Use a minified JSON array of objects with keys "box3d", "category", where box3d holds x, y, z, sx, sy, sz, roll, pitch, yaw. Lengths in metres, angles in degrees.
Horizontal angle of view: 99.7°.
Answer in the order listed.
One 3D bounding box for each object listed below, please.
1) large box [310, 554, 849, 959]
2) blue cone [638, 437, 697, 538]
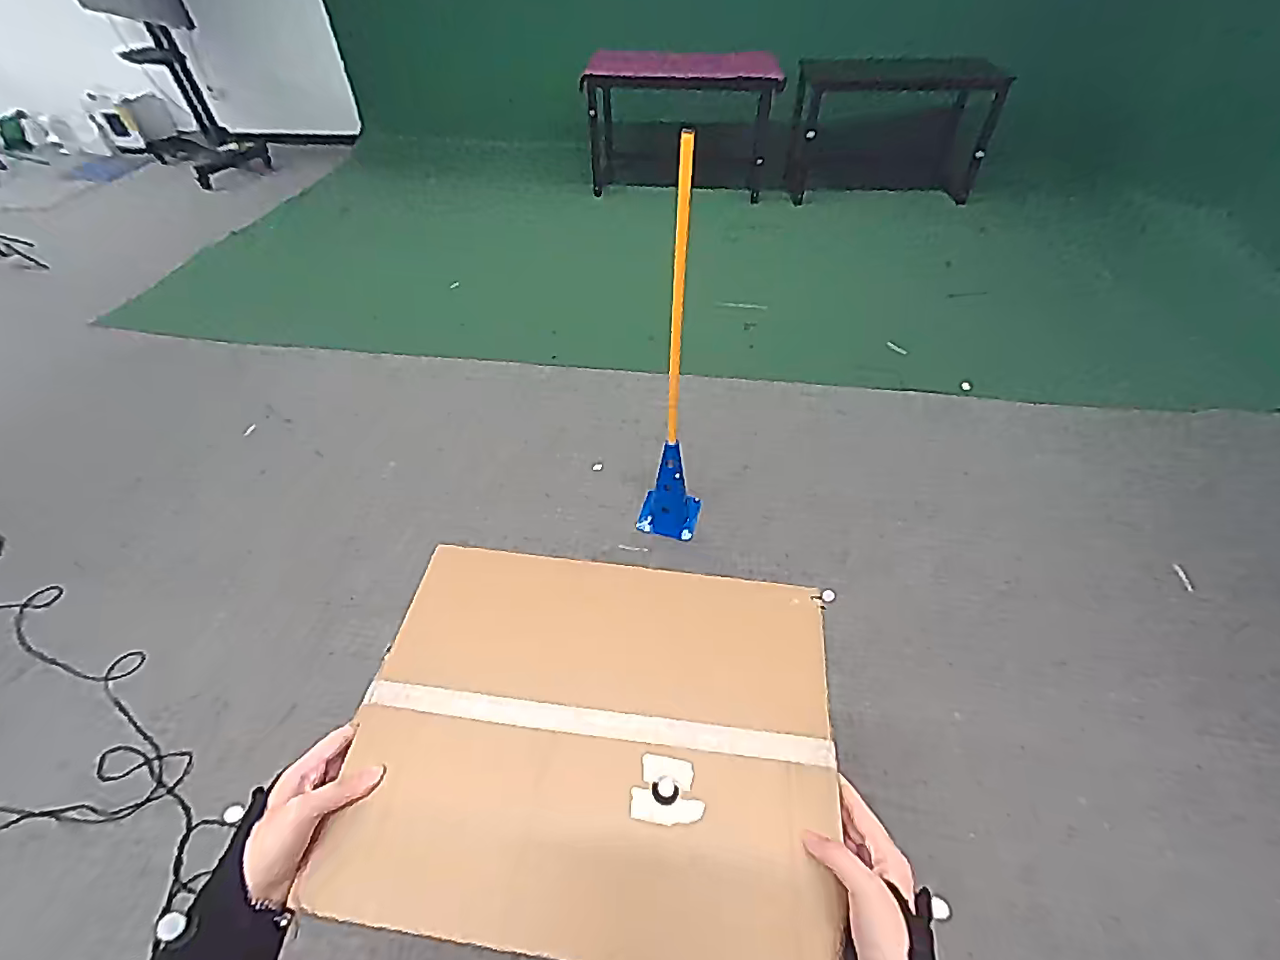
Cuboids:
[{"box3d":[-0.037,0.309,0.595,0.408,0.320,0.320,6,52,4],"category":"large box"},{"box3d":[0.100,0.013,1.823,0.193,0.380,0.192,13,47,12],"category":"blue cone"}]
